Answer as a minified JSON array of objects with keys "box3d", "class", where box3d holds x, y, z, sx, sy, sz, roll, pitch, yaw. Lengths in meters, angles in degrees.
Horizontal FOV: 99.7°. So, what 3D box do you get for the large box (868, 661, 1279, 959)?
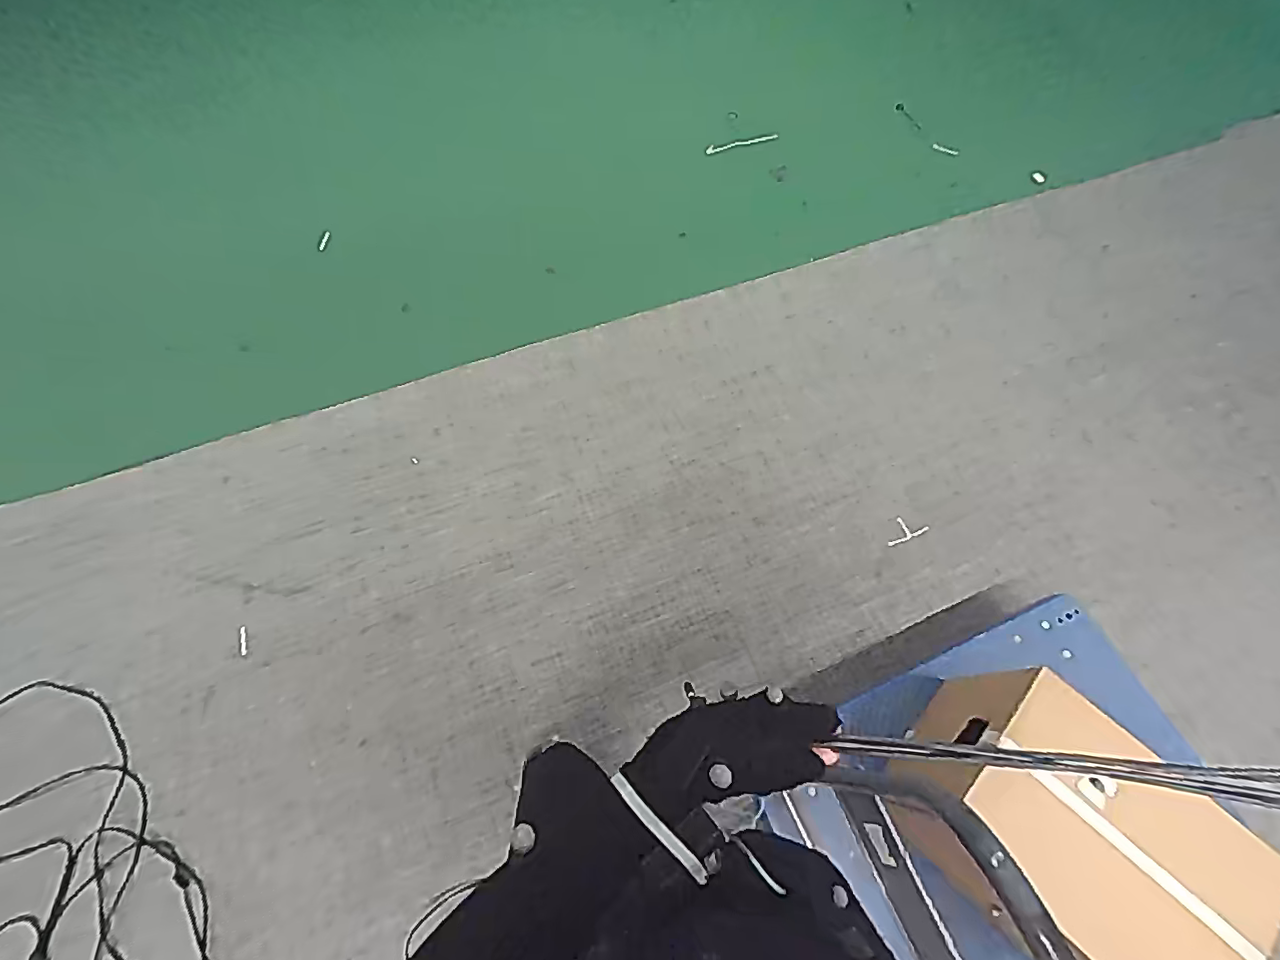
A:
[{"box3d":[0.702,0.587,0.948,0.408,0.320,0.320,42,72,17],"class":"large box"}]
